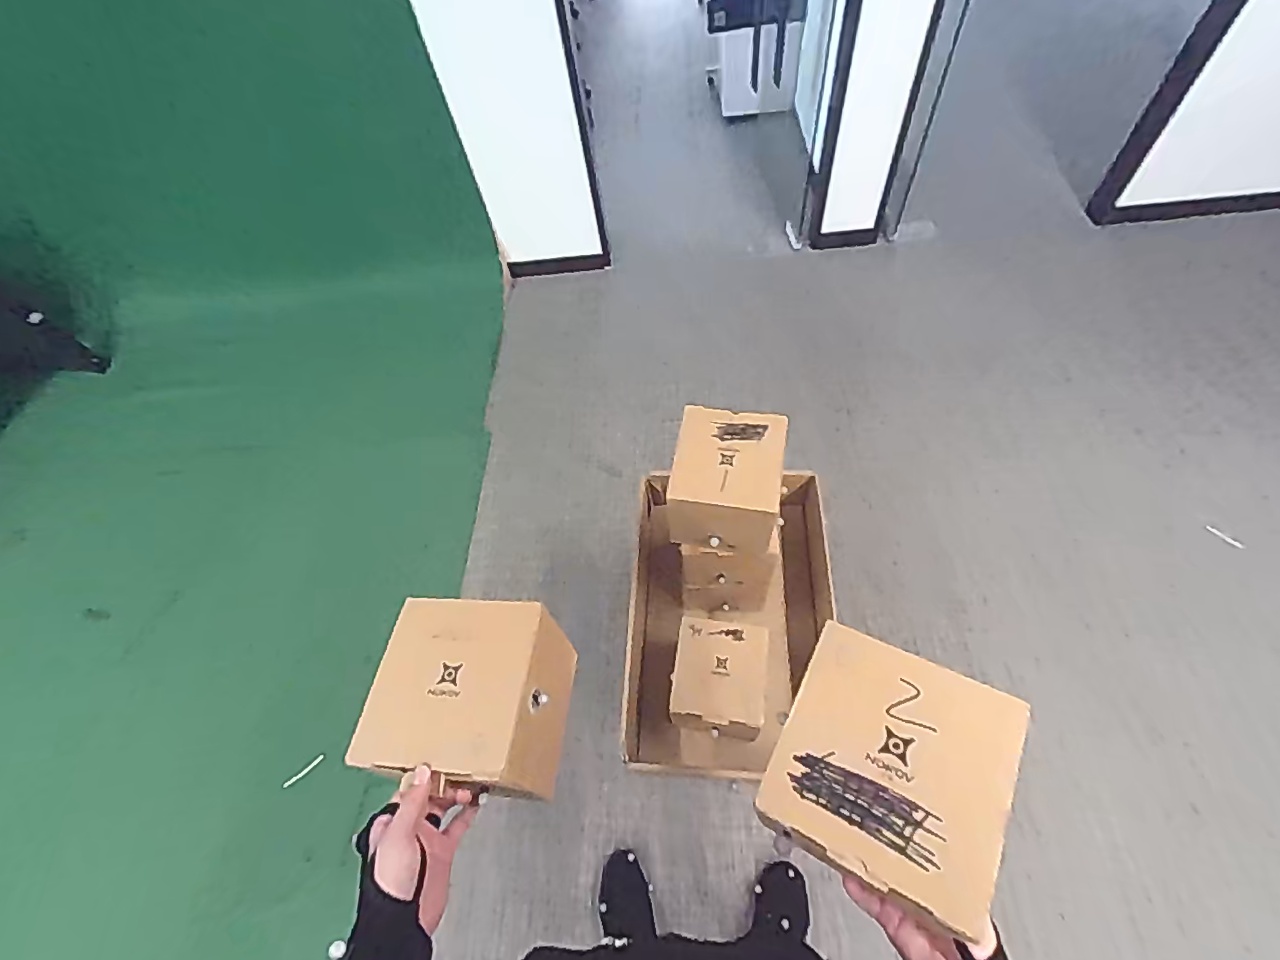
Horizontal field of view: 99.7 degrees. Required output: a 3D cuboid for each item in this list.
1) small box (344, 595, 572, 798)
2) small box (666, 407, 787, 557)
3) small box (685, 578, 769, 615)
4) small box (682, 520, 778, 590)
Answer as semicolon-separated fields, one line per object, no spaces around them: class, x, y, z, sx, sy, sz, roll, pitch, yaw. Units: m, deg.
small box;-0.186;0.250;0.619;0.168;0.176;0.179;0;53;11
small box;0.142;0.006;0.895;0.168;0.176;0.179;8;61;12
small box;0.184;0.178;1.168;0.168;0.176;0.179;-1;59;8
small box;0.165;0.096;1.030;0.168;0.176;0.179;-1;59;7
